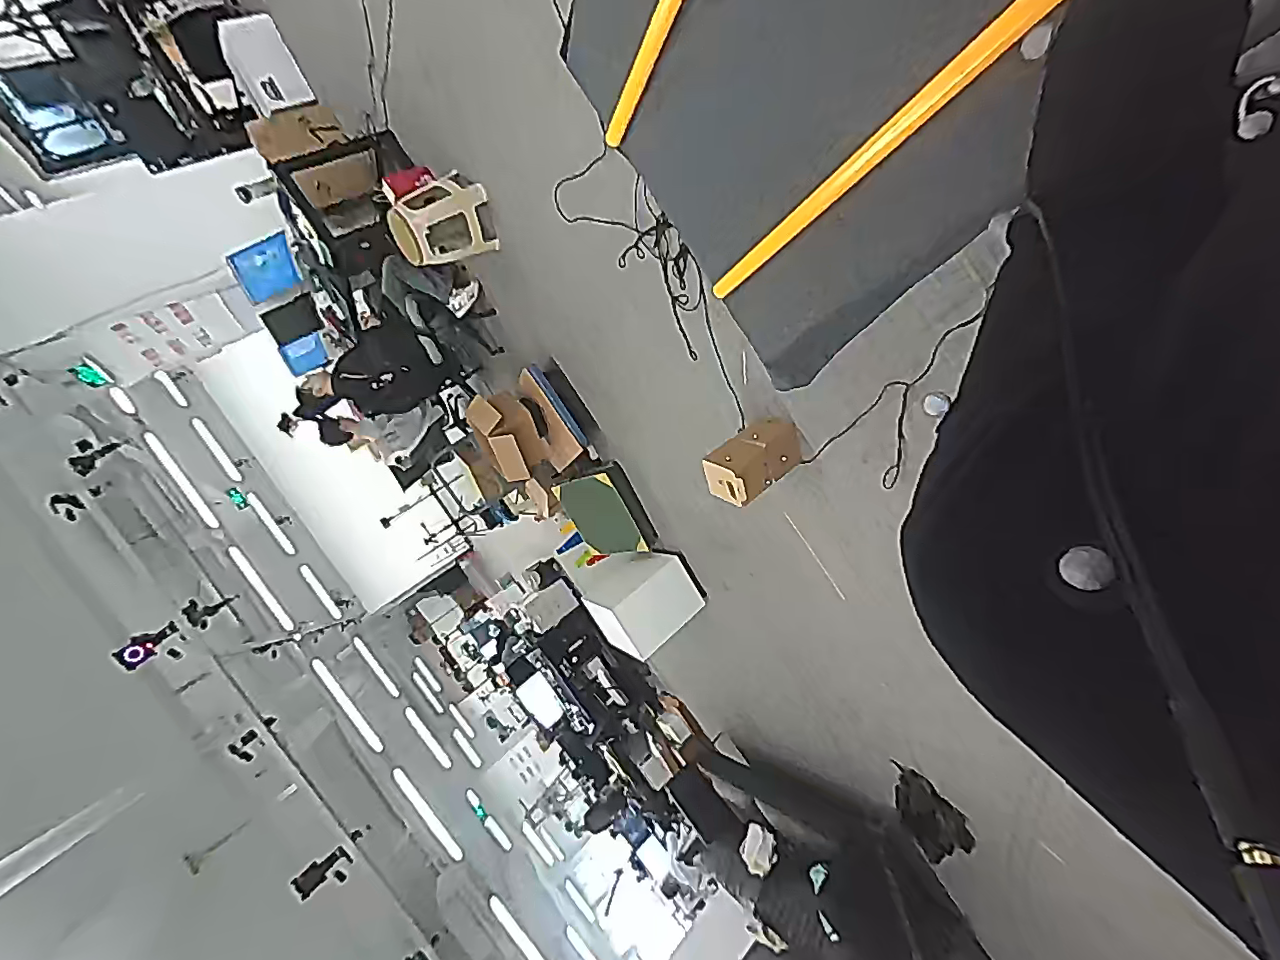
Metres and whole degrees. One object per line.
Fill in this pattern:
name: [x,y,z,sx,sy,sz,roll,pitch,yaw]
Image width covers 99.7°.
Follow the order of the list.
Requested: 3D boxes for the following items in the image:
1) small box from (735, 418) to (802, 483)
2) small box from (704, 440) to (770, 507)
small box: [0.499,-0.117,2.078,0.168,0.176,0.179,20,138,52]
small box: [0.370,-0.030,2.020,0.179,0.176,0.168,26,142,49]
